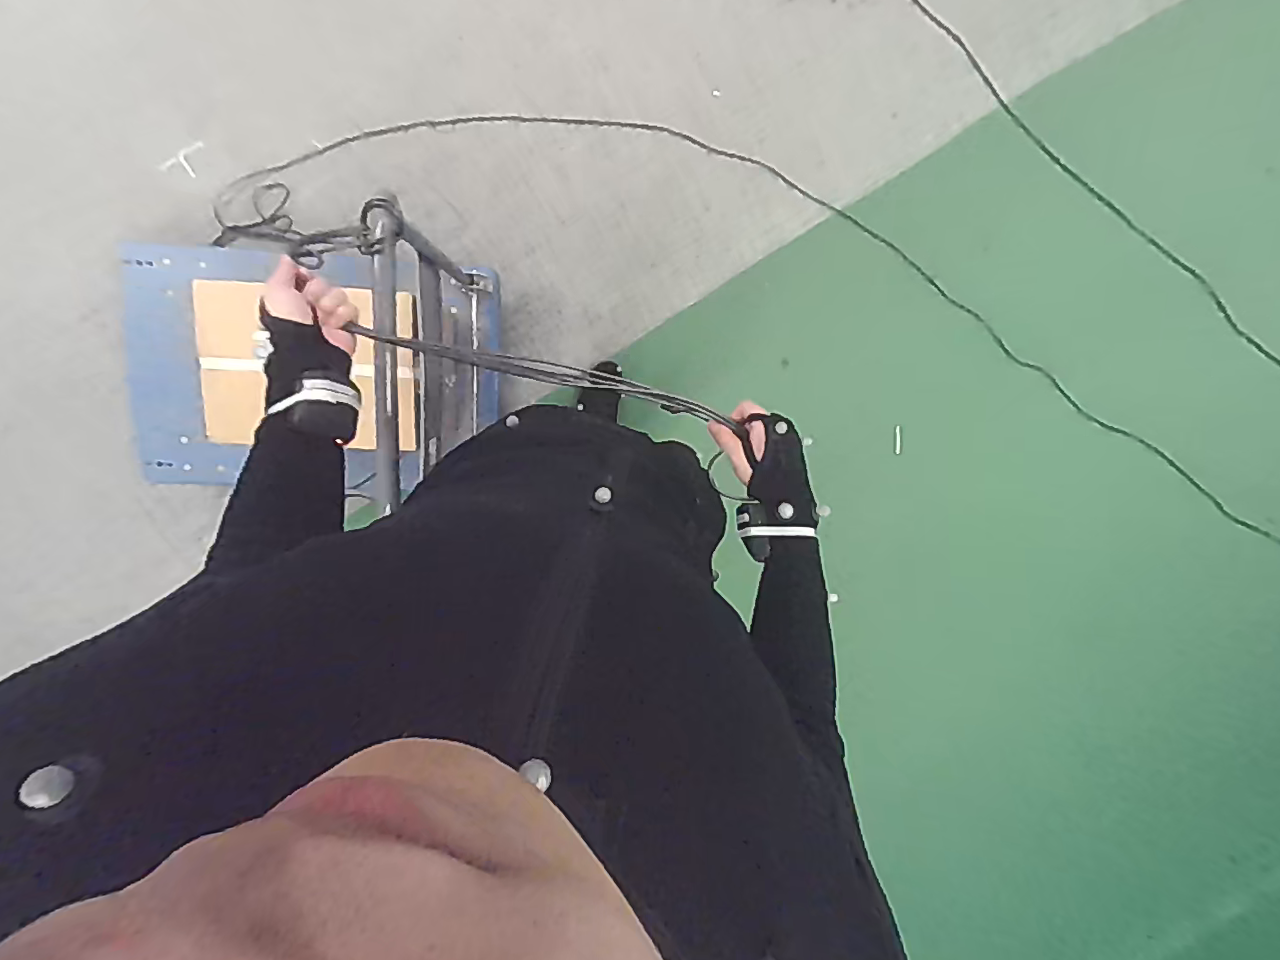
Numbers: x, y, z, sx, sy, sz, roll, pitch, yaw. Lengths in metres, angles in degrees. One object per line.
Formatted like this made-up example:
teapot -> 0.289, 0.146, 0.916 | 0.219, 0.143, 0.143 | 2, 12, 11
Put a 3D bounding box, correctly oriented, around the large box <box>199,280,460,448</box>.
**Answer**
large box -> -0.643, -0.248, 1.198 | 0.408, 0.320, 0.320 | 2, 100, -4
